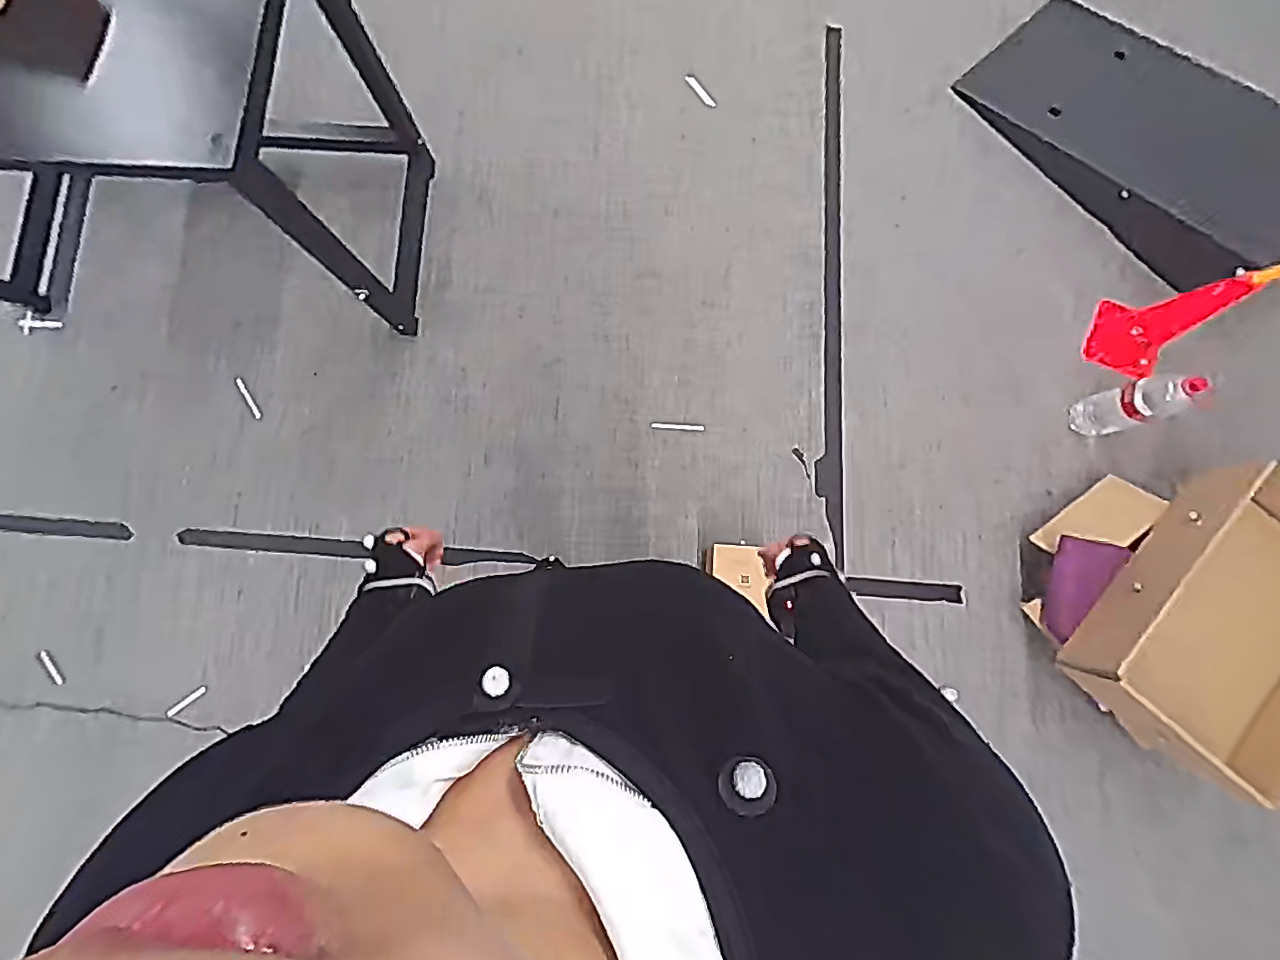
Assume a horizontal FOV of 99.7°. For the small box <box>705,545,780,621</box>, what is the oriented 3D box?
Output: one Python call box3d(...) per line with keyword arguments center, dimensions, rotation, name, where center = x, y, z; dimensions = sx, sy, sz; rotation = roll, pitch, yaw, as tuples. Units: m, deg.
box3d(center=(0.263, 0.265, 1.414), dimensions=(0.168, 0.176, 0.179), rotation=(3, 81, 1), name="small box")
